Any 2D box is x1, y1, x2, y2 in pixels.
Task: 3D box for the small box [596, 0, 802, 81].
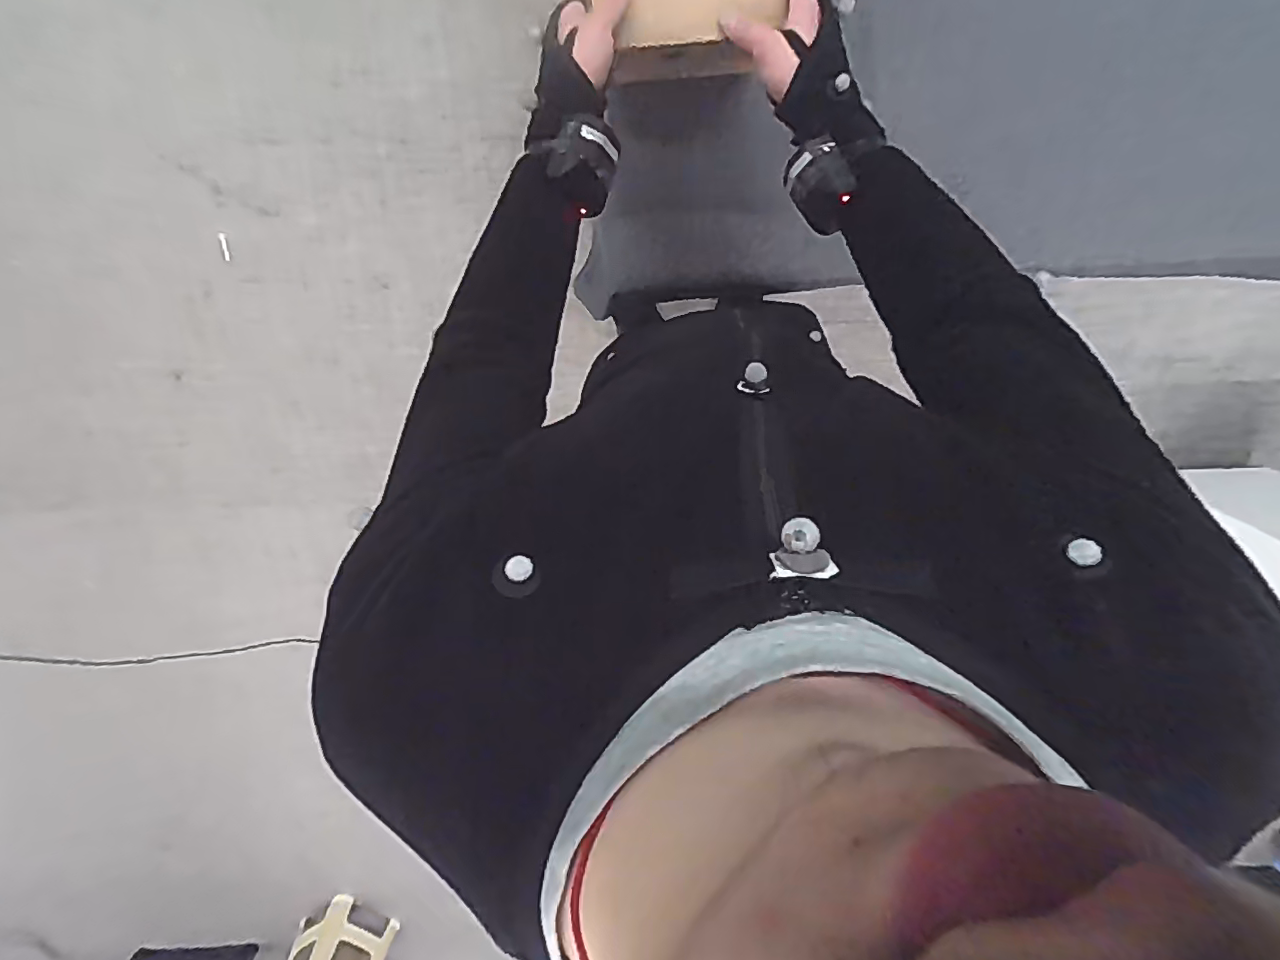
[{"bbox_3d":[0.044,-0.492,0.504,0.179,0.176,0.168,-6,117,-2],"label":"small box"}]
